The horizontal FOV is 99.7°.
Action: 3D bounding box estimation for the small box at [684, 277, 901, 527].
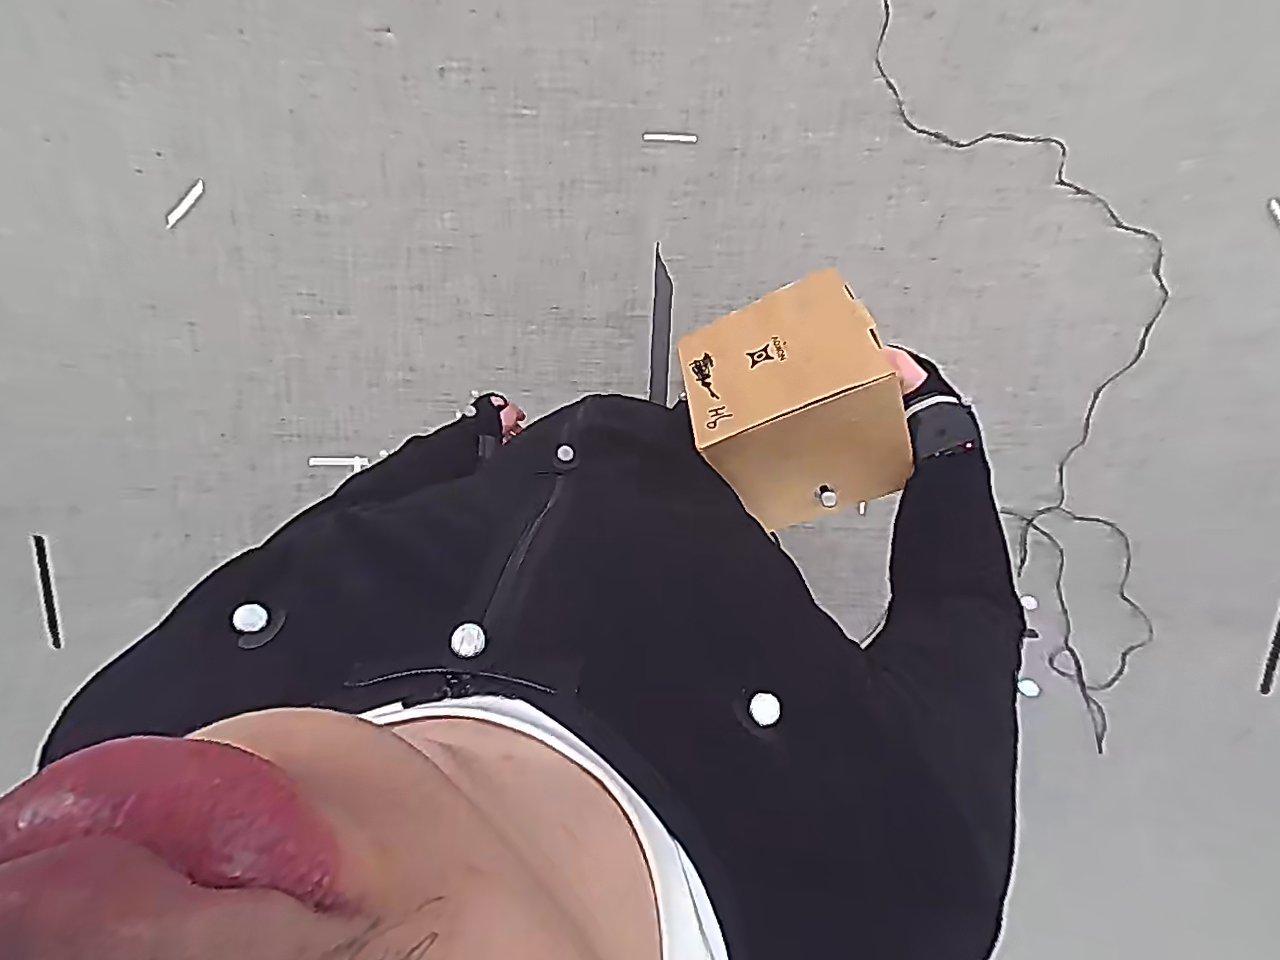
[{"bbox_3d":[0.166,-0.075,0.584,0.179,0.168,0.176,-21,137,18],"label":"small box"}]
